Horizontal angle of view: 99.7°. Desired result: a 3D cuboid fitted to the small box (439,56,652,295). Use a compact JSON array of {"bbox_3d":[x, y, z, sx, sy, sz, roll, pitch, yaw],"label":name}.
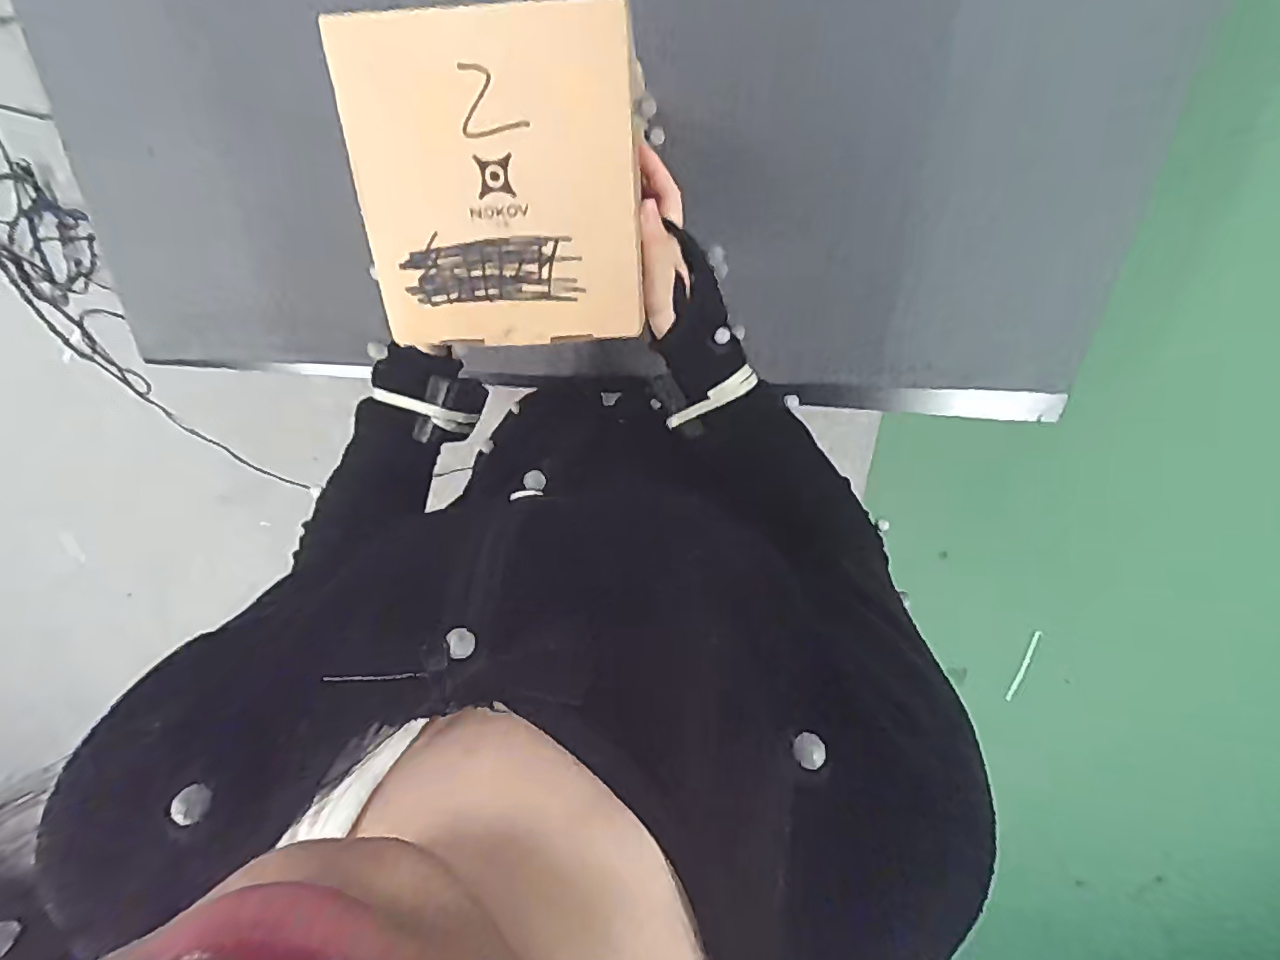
[{"bbox_3d":[-0.074,-0.279,0.526,0.168,0.176,0.179,0,114,3],"label":"small box"}]
